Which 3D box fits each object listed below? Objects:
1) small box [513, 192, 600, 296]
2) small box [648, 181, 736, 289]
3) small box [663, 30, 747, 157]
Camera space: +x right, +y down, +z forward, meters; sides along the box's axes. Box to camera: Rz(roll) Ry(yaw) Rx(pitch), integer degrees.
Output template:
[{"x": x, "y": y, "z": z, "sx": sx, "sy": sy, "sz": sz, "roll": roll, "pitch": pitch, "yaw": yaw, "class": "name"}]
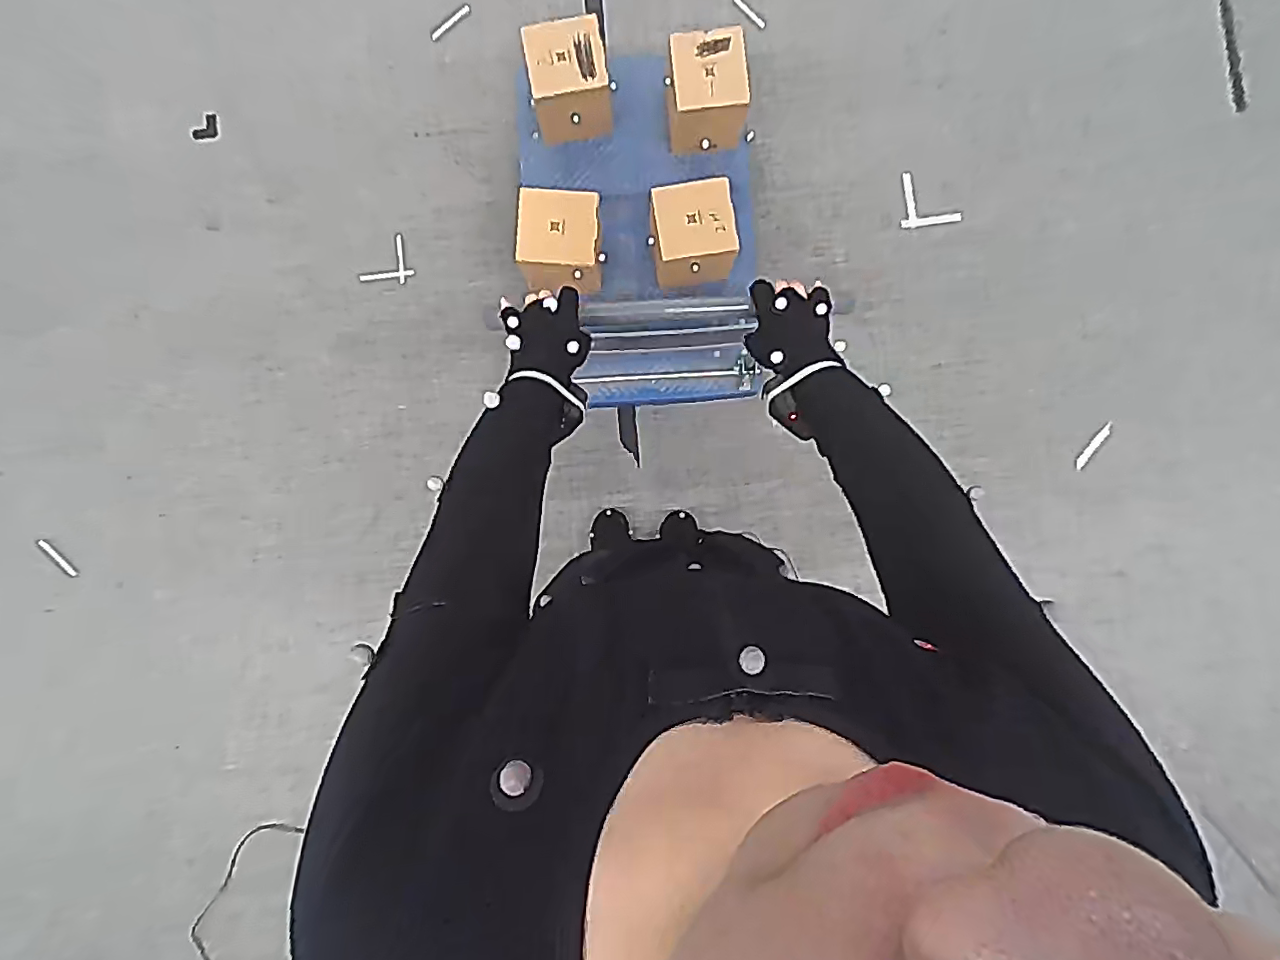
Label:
[{"x": -0.188, "y": -0.543, "z": 1.263, "sx": 0.179, "sy": 0.176, "sz": 0.168, "roll": 3, "pitch": 88, "yaw": -2, "class": "small box"}, {"x": 0.115, "y": -0.563, "z": 1.266, "sx": 0.179, "sy": 0.176, "sz": 0.168, "roll": -9, "pitch": 89, "yaw": -1, "class": "small box"}, {"x": 0.147, "y": -0.902, "z": 1.275, "sx": 0.168, "sy": 0.176, "sz": 0.179, "roll": -7, "pitch": 89, "yaw": 0, "class": "small box"}]
